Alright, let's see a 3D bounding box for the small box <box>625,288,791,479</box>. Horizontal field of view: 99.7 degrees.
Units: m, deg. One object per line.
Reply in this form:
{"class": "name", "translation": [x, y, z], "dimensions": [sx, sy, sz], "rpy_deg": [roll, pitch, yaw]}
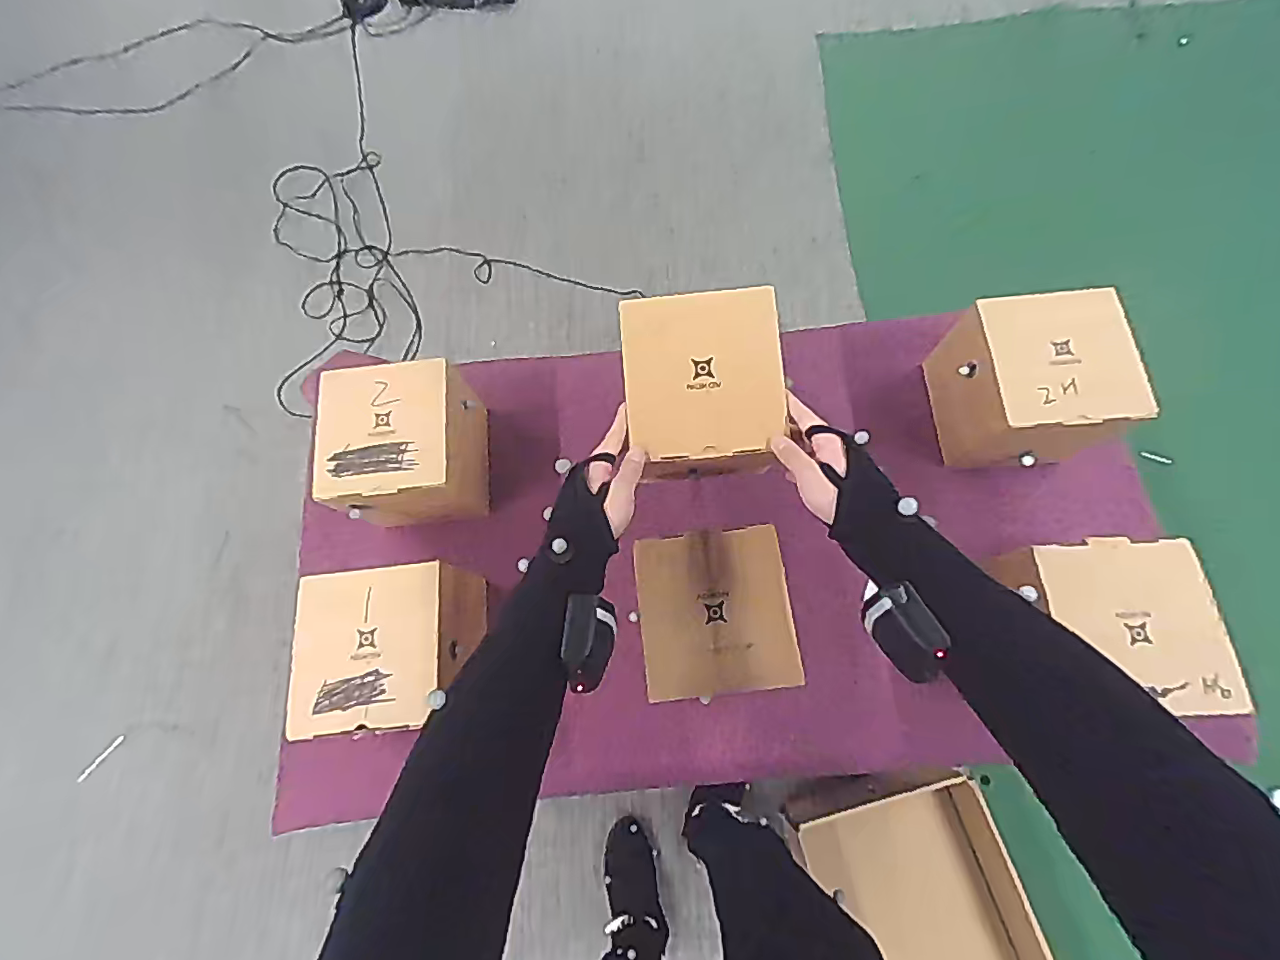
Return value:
{"class": "small box", "translation": [0.071, -0.103, 0.643], "dimensions": [0.168, 0.176, 0.179], "rpy_deg": [-5, 83, 2]}

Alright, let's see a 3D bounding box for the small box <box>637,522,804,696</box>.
{"class": "small box", "translation": [0.088, 0.162, 0.663], "dimensions": [0.168, 0.176, 0.179], "rpy_deg": [-7, 72, 3]}

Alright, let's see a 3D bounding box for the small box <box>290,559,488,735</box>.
{"class": "small box", "translation": [-0.294, 0.206, 0.673], "dimensions": [0.168, 0.176, 0.179], "rpy_deg": [-7, 71, 1]}

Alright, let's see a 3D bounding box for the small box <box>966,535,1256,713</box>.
{"class": "small box", "translation": [0.513, 0.172, 0.627], "dimensions": [0.168, 0.176, 0.179], "rpy_deg": [-4, 69, 5]}

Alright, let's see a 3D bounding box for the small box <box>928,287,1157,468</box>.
{"class": "small box", "translation": [0.512, -0.128, 0.722], "dimensions": [0.168, 0.176, 0.179], "rpy_deg": [-4, 73, 5]}
